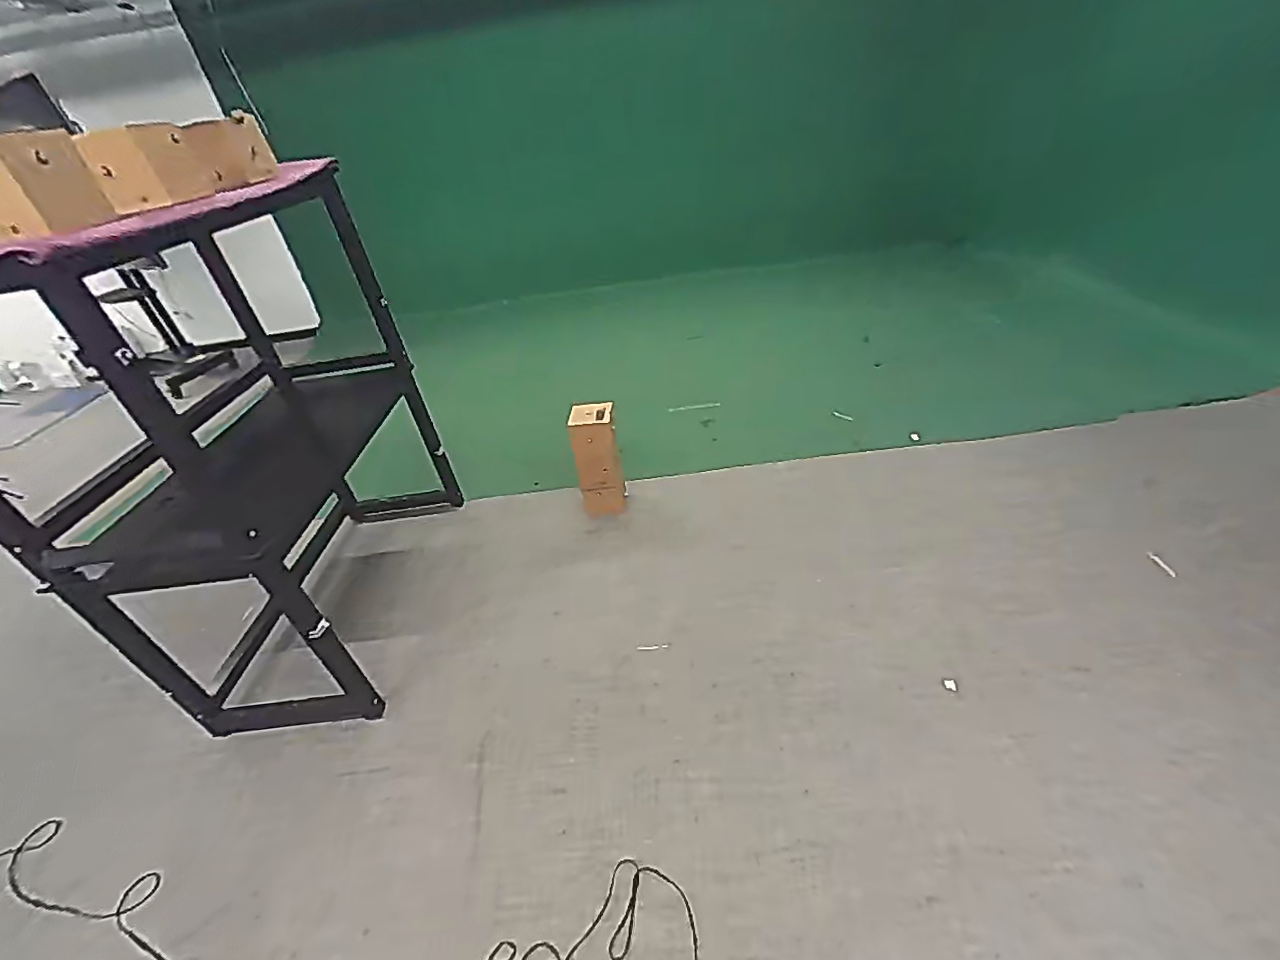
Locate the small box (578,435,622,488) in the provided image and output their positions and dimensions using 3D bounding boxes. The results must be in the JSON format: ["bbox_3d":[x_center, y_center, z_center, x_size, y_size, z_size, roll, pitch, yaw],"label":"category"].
[{"bbox_3d":[-0.170,-0.077,2.377,0.168,0.176,0.179,-5,35,4],"label":"small box"}]

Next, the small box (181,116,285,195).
[{"bbox_3d":[-1.226,-0.975,1.625,0.179,0.176,0.168,-5,37,10],"label":"small box"}]

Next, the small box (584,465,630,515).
[{"bbox_3d":[-0.148,0.049,2.477,0.179,0.176,0.168,-4,36,6],"label":"small box"}]

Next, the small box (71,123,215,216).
[{"bbox_3d":[-1.211,-0.763,1.333,0.168,0.176,0.179,-9,35,4],"label":"small box"}]

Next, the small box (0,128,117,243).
[{"bbox_3d":[-1.180,-0.559,1.034,0.168,0.176,0.179,-7,35,2],"label":"small box"}]
